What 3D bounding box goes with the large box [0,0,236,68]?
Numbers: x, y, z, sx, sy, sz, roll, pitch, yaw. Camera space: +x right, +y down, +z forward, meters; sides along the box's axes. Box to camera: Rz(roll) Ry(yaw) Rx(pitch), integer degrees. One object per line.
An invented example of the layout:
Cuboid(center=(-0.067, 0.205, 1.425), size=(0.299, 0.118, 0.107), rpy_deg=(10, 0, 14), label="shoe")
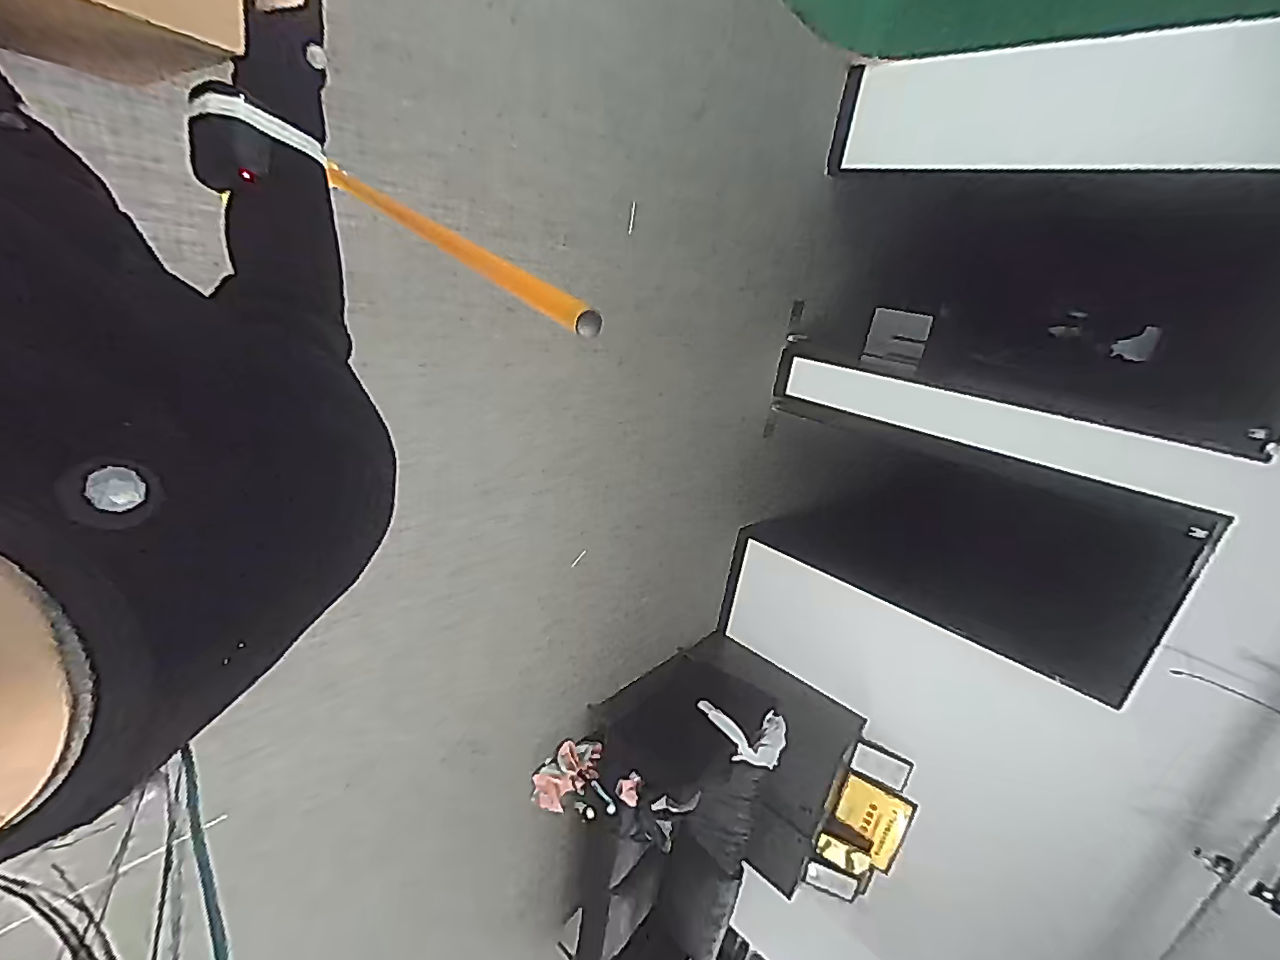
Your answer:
Cuboid(center=(-0.517, -0.480, 0.288), size=(0.408, 0.320, 0.320), rpy_deg=(-15, 121, -49), label="large box")
